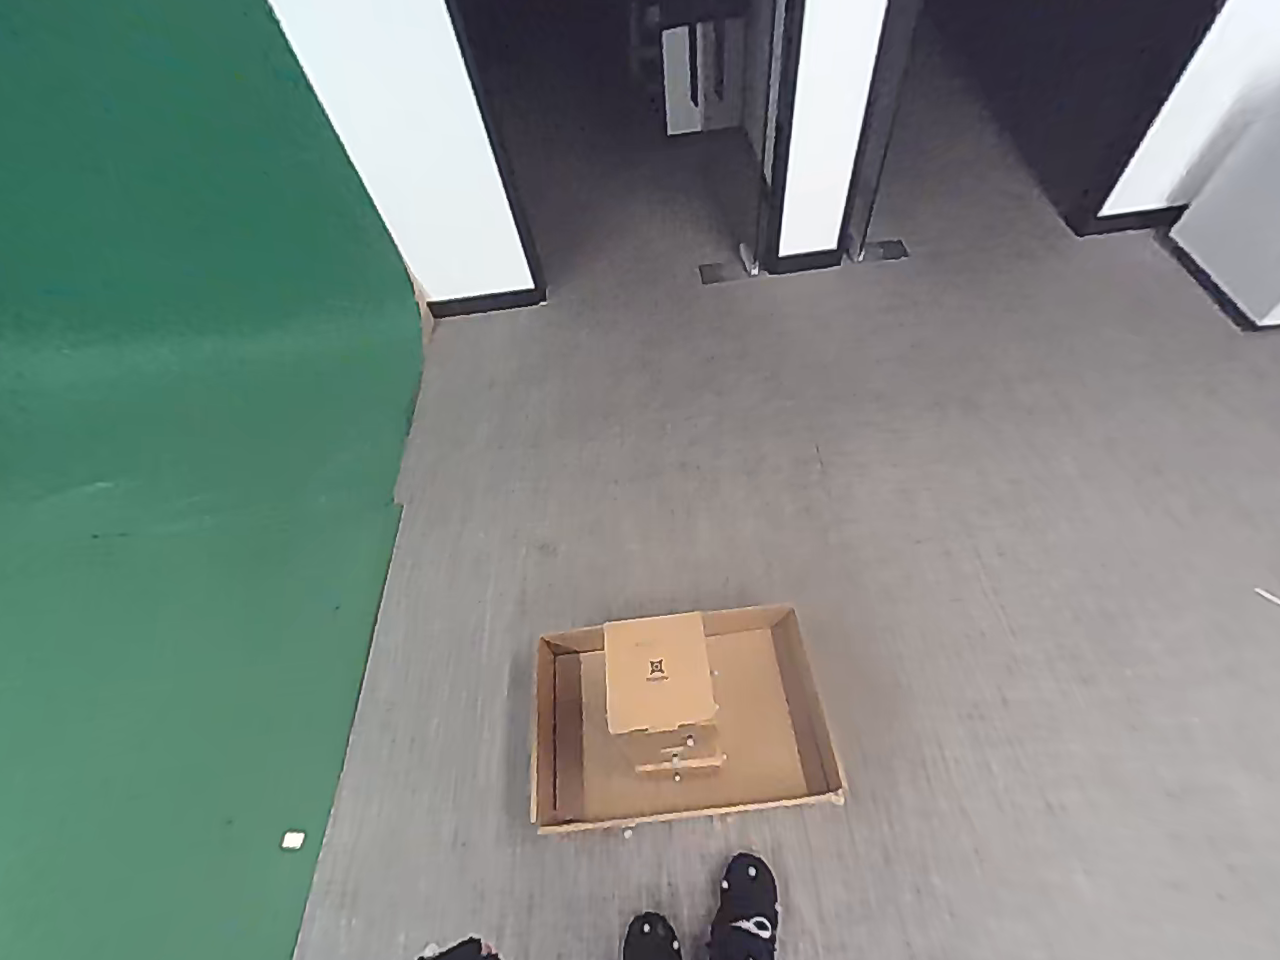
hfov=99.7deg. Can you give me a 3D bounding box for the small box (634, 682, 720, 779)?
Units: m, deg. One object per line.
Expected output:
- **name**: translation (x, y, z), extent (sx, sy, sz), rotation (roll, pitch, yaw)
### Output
- **small box**: translation (0.081, 0.554, 1.191), extent (0.179, 0.176, 0.168), rotation (-6, 53, 5)

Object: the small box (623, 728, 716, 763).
- **small box**: translation (0.054, 0.450, 1.071), extent (0.168, 0.176, 0.179), rotation (-10, 54, 2)

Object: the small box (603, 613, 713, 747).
- **small box**: translation (0.033, 0.347, 0.923), extent (0.168, 0.176, 0.179), rotation (-7, 53, 2)
